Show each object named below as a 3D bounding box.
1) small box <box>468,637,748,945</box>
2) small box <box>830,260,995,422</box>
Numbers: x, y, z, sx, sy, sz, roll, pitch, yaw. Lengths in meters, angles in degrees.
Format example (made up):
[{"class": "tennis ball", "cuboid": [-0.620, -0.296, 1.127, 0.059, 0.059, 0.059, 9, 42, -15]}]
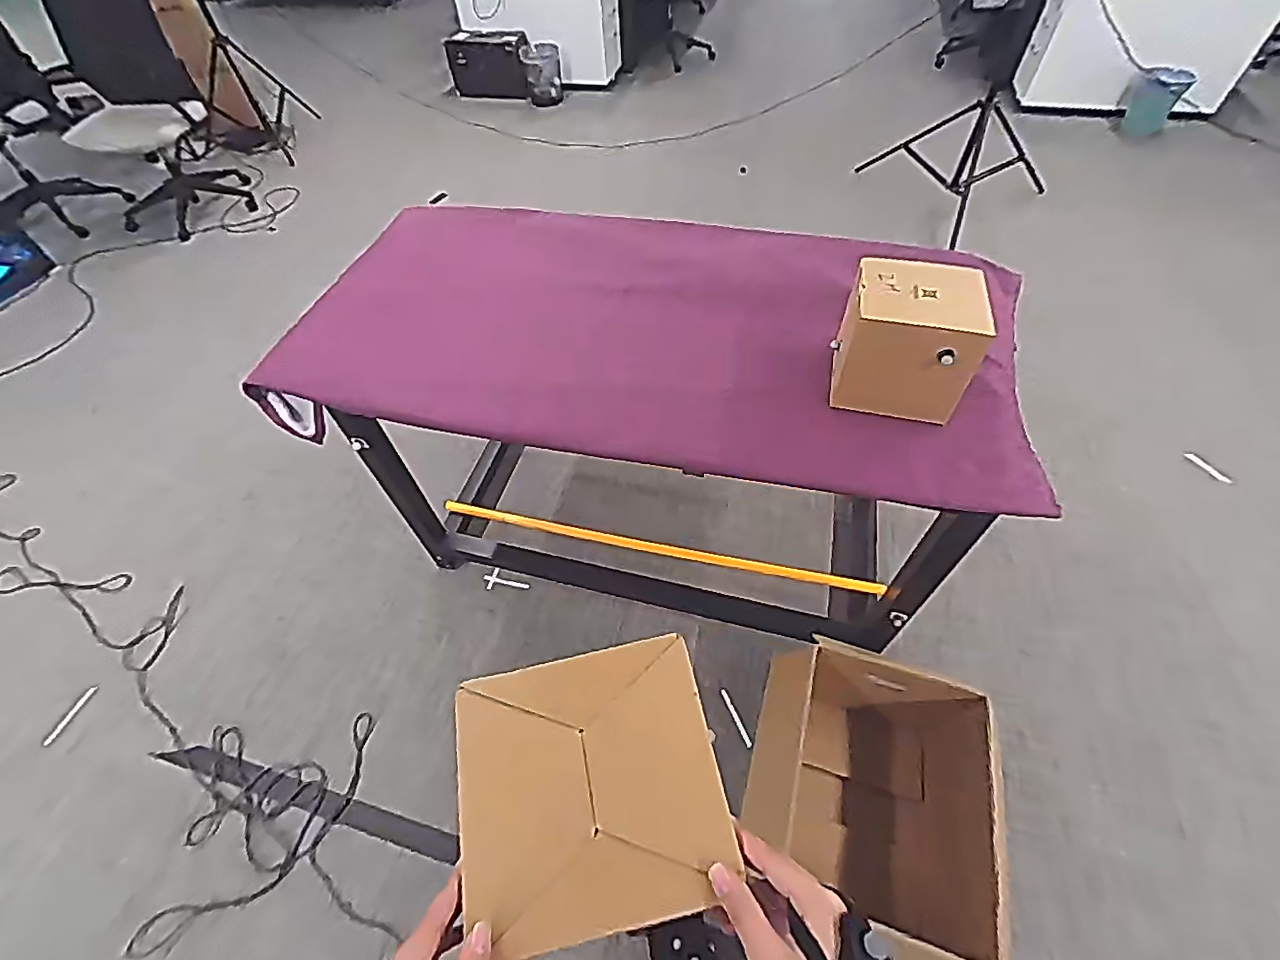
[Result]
[{"class": "small box", "cuboid": [-0.030, 0.243, 0.435, 0.179, 0.176, 0.168, -11, 56, -6]}, {"class": "small box", "cuboid": [0.409, -0.211, 0.836, 0.179, 0.176, 0.168, 11, 52, 11]}]
